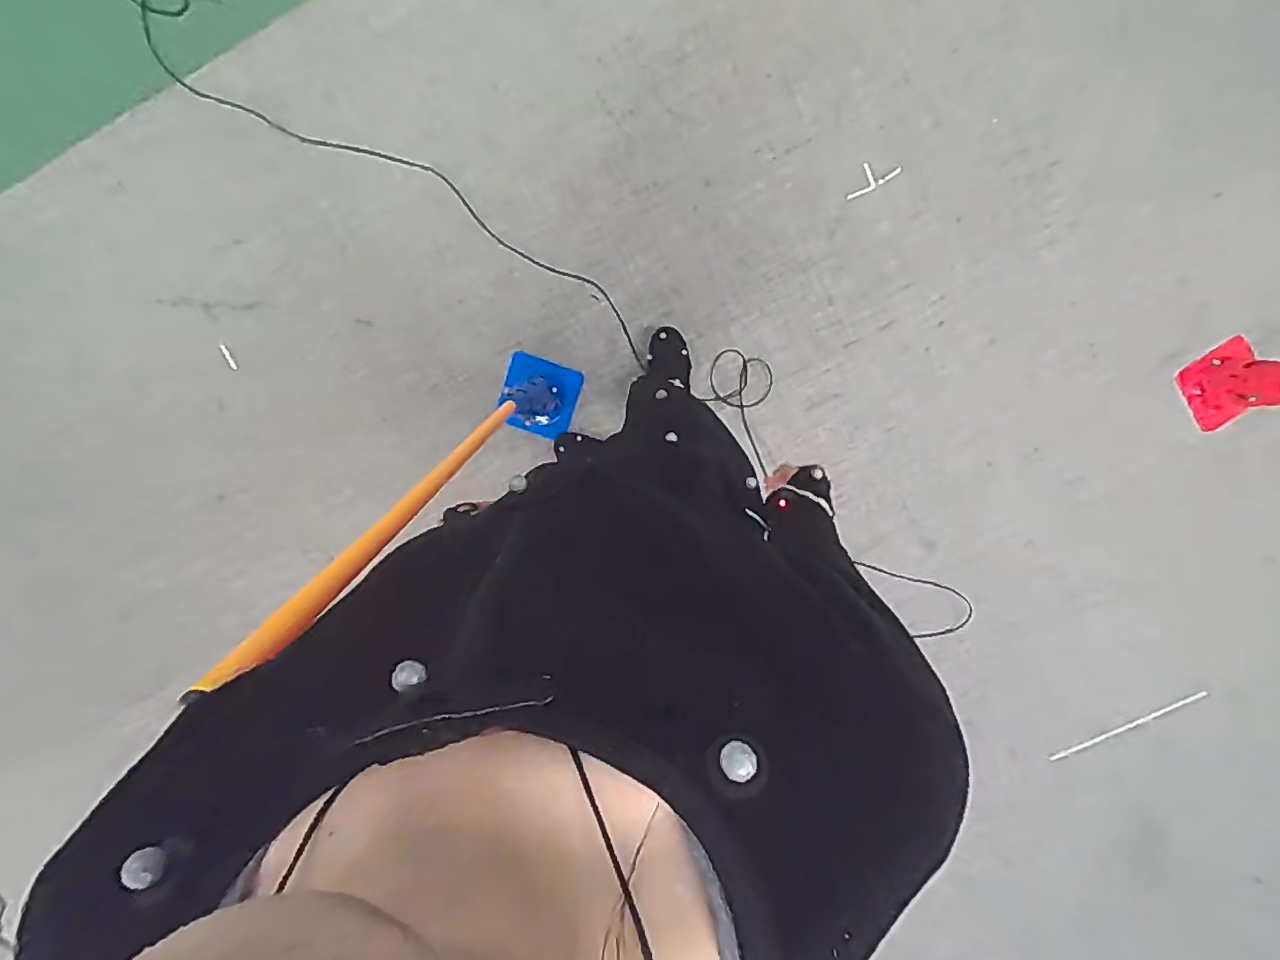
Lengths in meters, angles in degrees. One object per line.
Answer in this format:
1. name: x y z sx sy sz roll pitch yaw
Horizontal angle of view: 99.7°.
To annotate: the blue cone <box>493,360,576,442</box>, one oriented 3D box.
1. blue cone: -0.273 -0.172 1.275 0.192 0.380 0.193 17 101 -5
